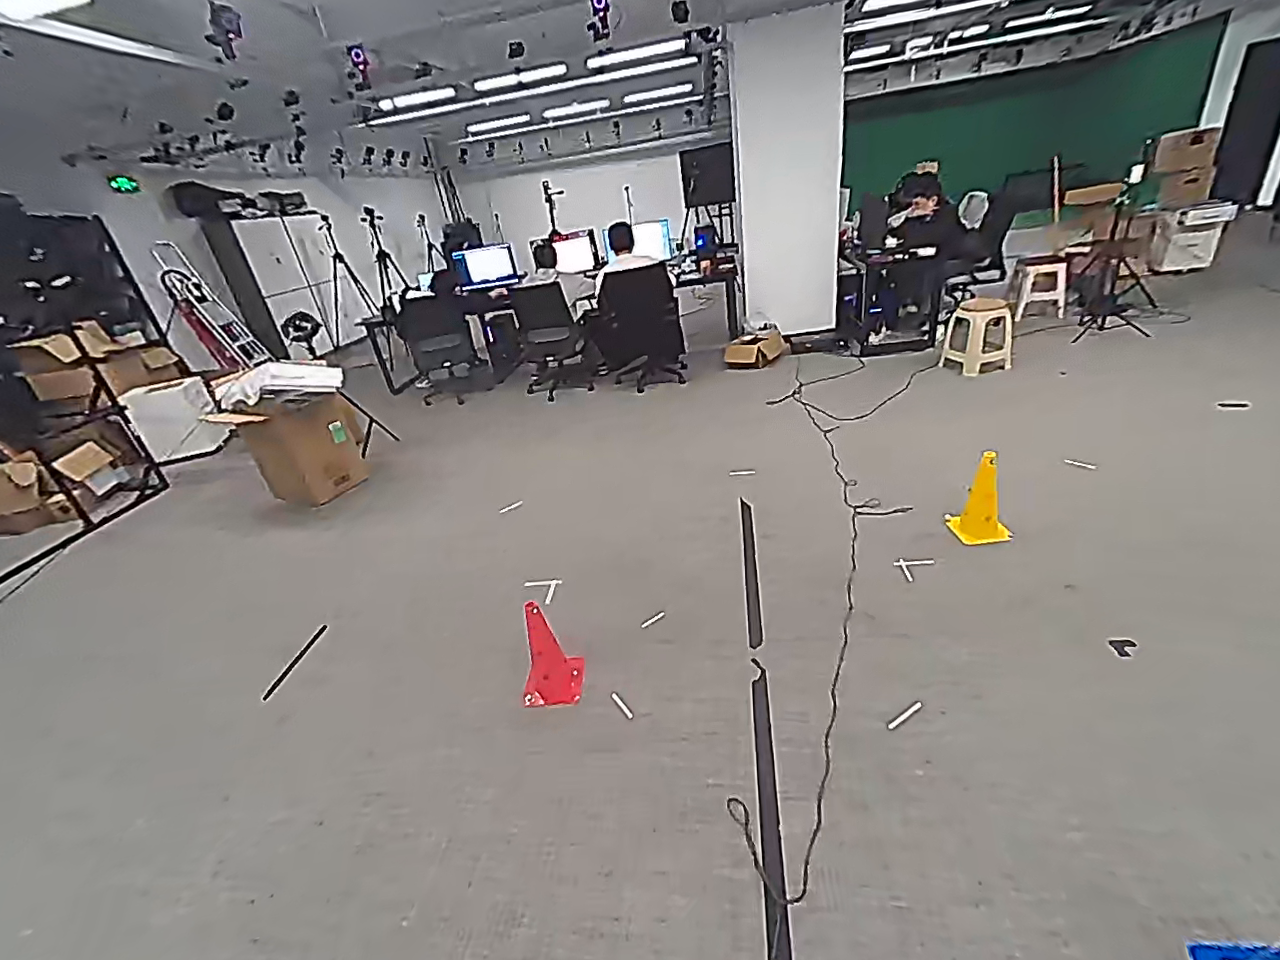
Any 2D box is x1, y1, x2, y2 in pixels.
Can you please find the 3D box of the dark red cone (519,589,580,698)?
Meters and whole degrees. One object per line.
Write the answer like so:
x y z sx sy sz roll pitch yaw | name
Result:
-0.330 0.527 1.792 0.201 0.394 0.202 -7 28 3 | dark red cone

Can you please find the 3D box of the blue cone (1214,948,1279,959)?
1.145 0.796 0.869 0.192 0.380 0.193 -3 28 10 | blue cone
